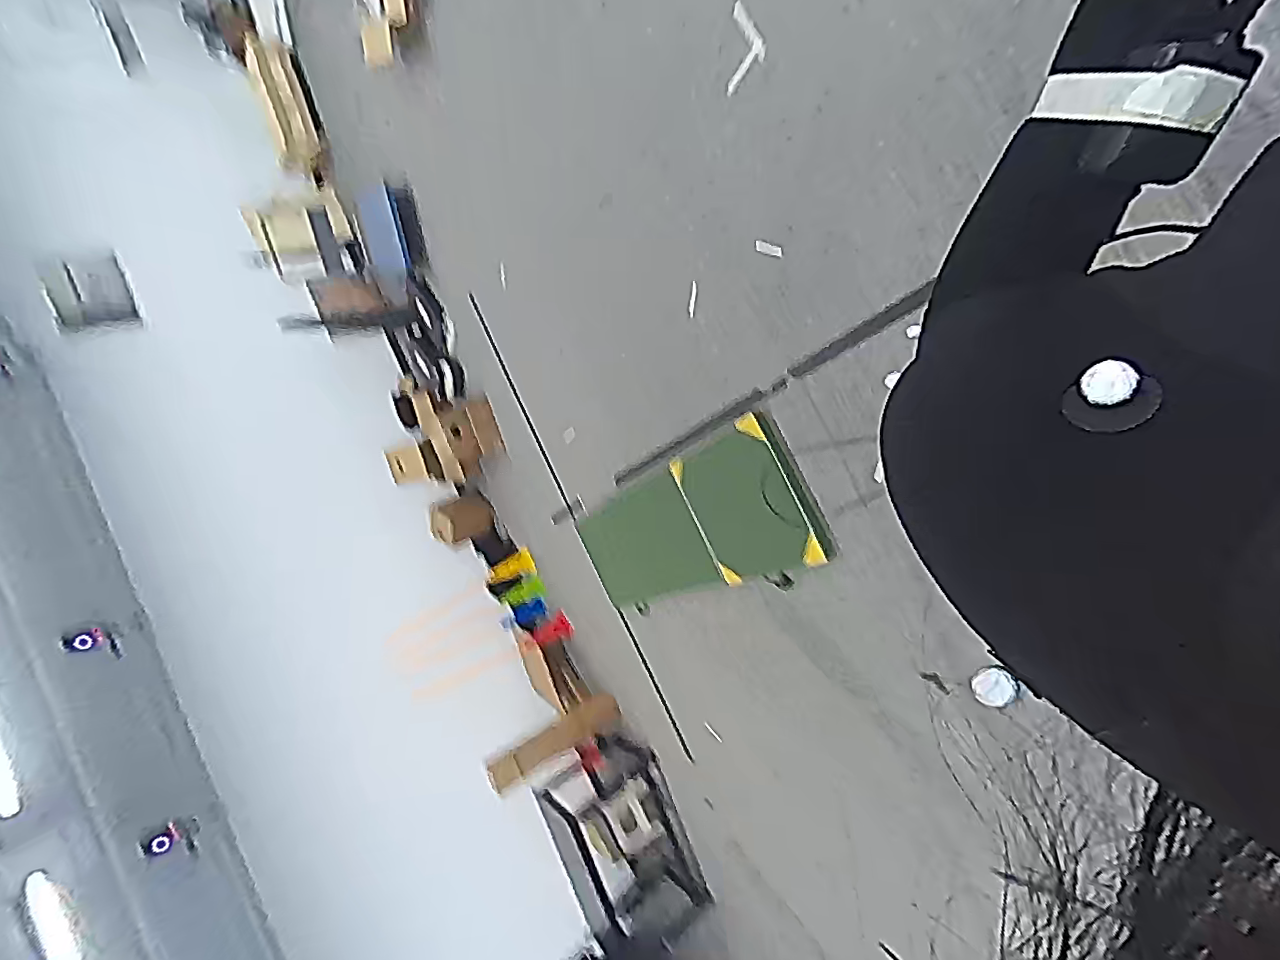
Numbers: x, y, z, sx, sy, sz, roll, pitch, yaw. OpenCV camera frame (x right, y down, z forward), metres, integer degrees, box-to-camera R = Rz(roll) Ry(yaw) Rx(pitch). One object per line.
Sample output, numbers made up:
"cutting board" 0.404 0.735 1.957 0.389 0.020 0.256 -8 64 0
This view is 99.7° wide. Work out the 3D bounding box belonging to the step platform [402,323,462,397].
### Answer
"step platform" -1.672 -0.958 4.315 0.684 0.204 0.286 46 141 27
